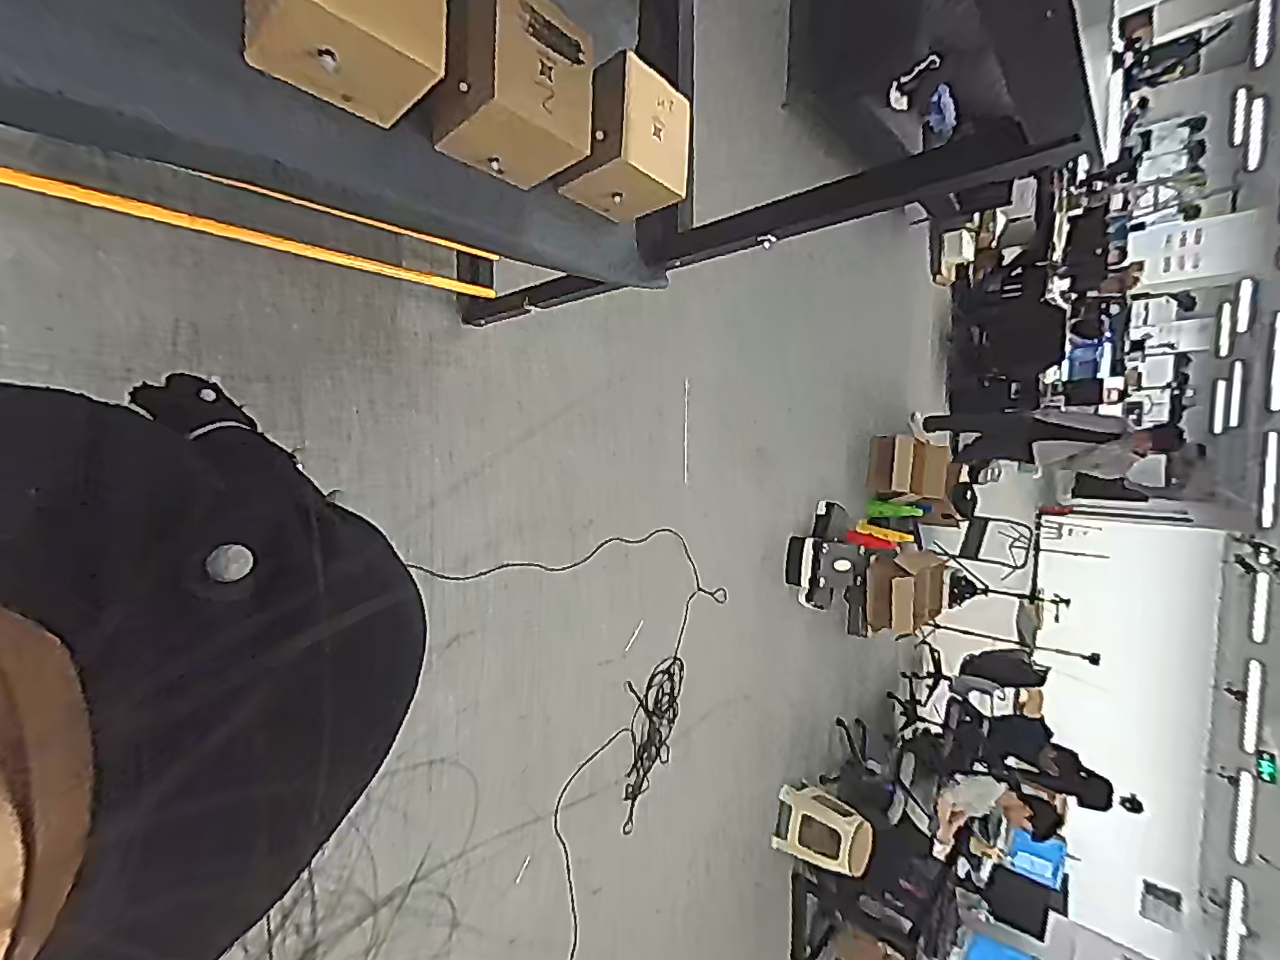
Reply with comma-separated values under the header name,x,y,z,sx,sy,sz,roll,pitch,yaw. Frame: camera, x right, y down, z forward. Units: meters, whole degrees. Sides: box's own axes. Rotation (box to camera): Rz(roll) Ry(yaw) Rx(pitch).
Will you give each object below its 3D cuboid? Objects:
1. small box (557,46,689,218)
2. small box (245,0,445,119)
name,x,y,z,sx,sy,sz,roll,pitch,yaw
small box,-0.033,-0.596,0.959,0.168,0.176,0.179,2,91,-47
small box,-0.344,-0.570,0.632,0.168,0.176,0.179,0,92,-47
